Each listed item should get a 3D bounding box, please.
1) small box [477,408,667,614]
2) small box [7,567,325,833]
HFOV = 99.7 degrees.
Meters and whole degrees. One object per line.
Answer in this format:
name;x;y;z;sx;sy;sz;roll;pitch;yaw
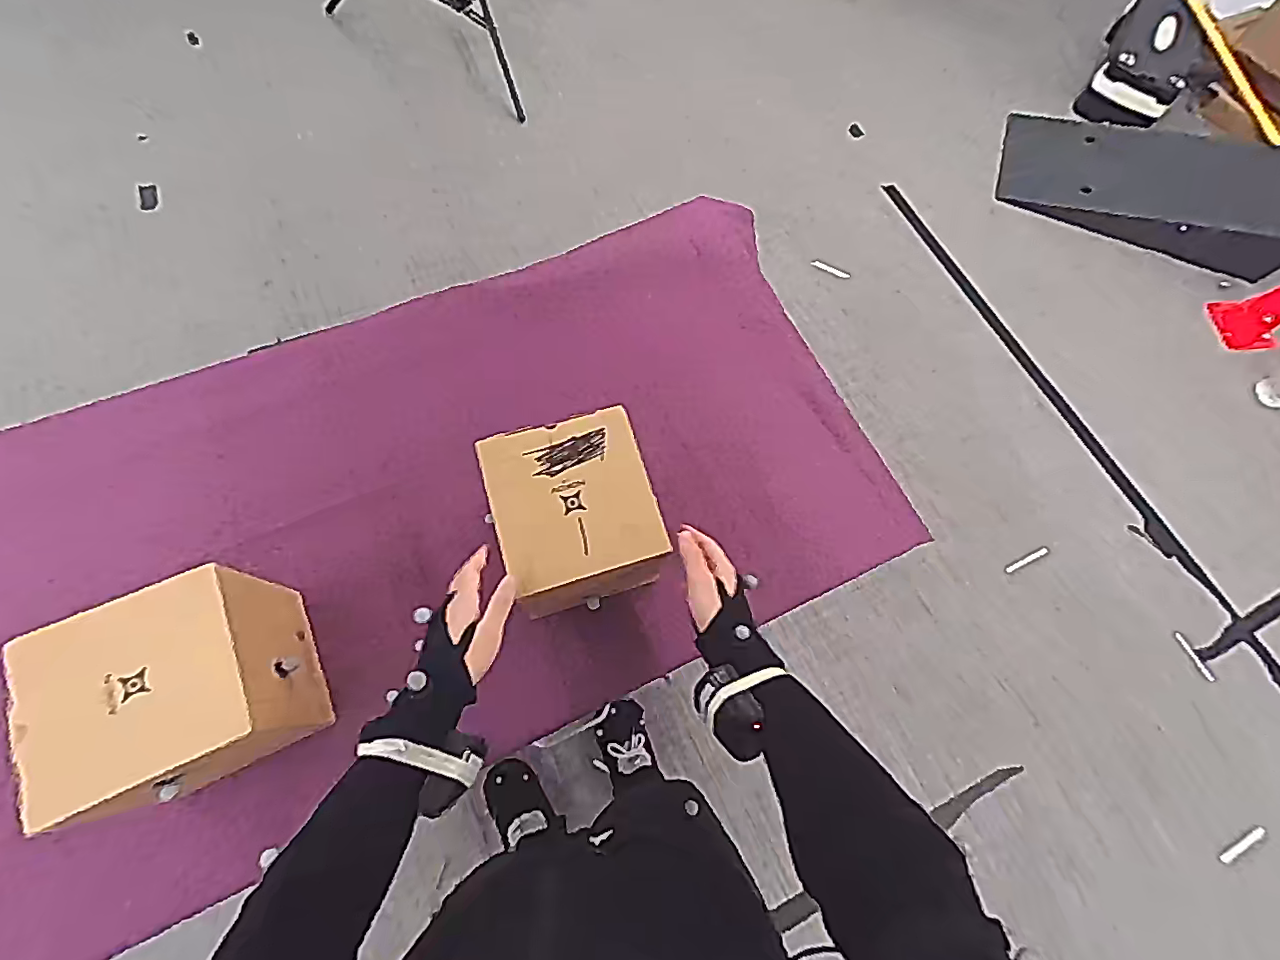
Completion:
small box;-0.080;0.044;0.638;0.168;0.176;0.179;-16;72;-10
small box;-0.452;0.209;0.548;0.179;0.176;0.168;-24;73;-12
